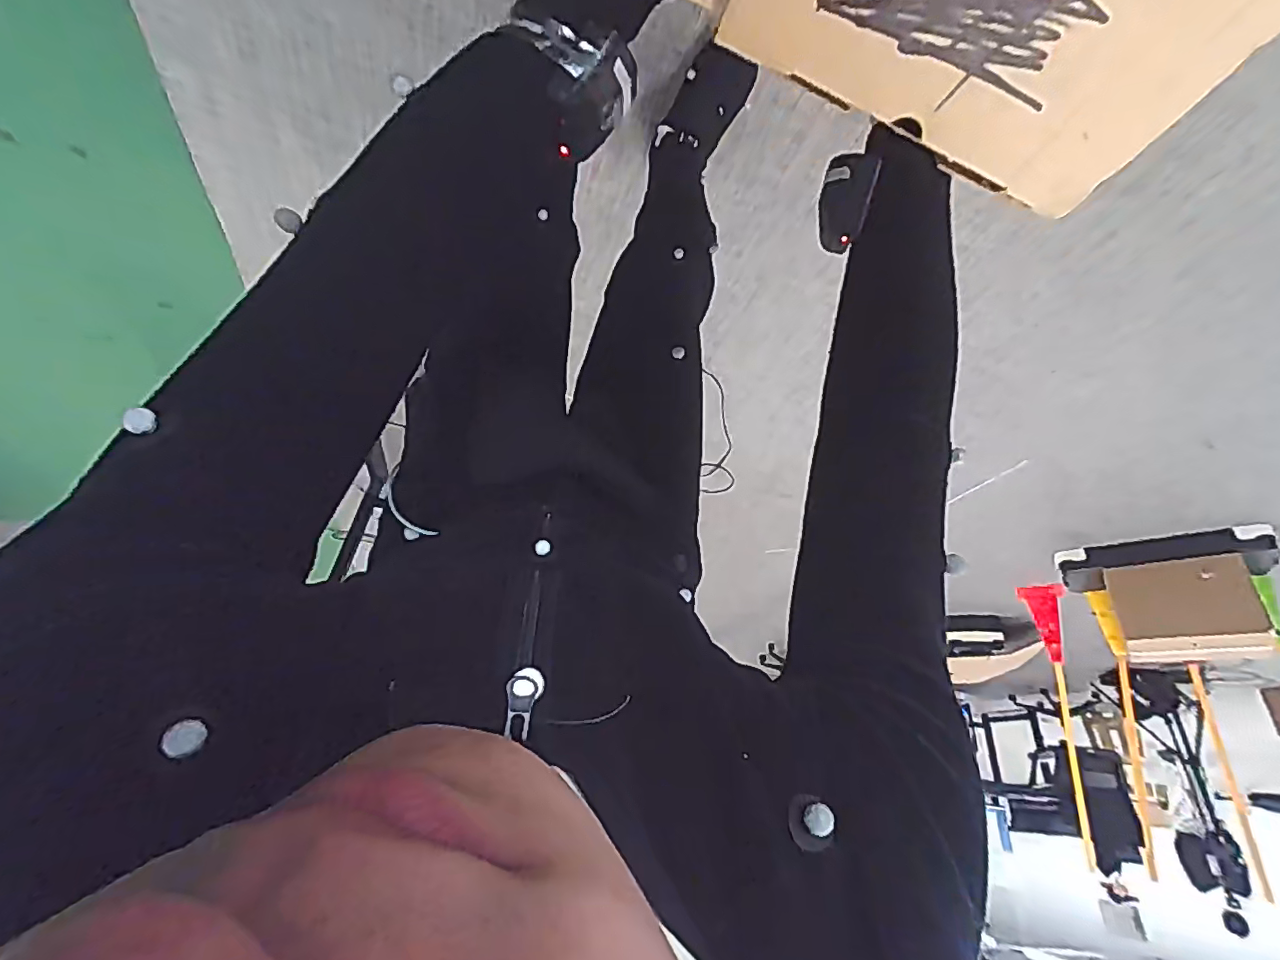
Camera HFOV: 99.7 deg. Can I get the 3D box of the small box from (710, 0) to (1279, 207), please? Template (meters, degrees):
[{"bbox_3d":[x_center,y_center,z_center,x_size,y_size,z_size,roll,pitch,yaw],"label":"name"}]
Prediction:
[{"bbox_3d":[0.139,-0.243,0.180,0.168,0.176,0.179,16,148,-15],"label":"small box"}]
